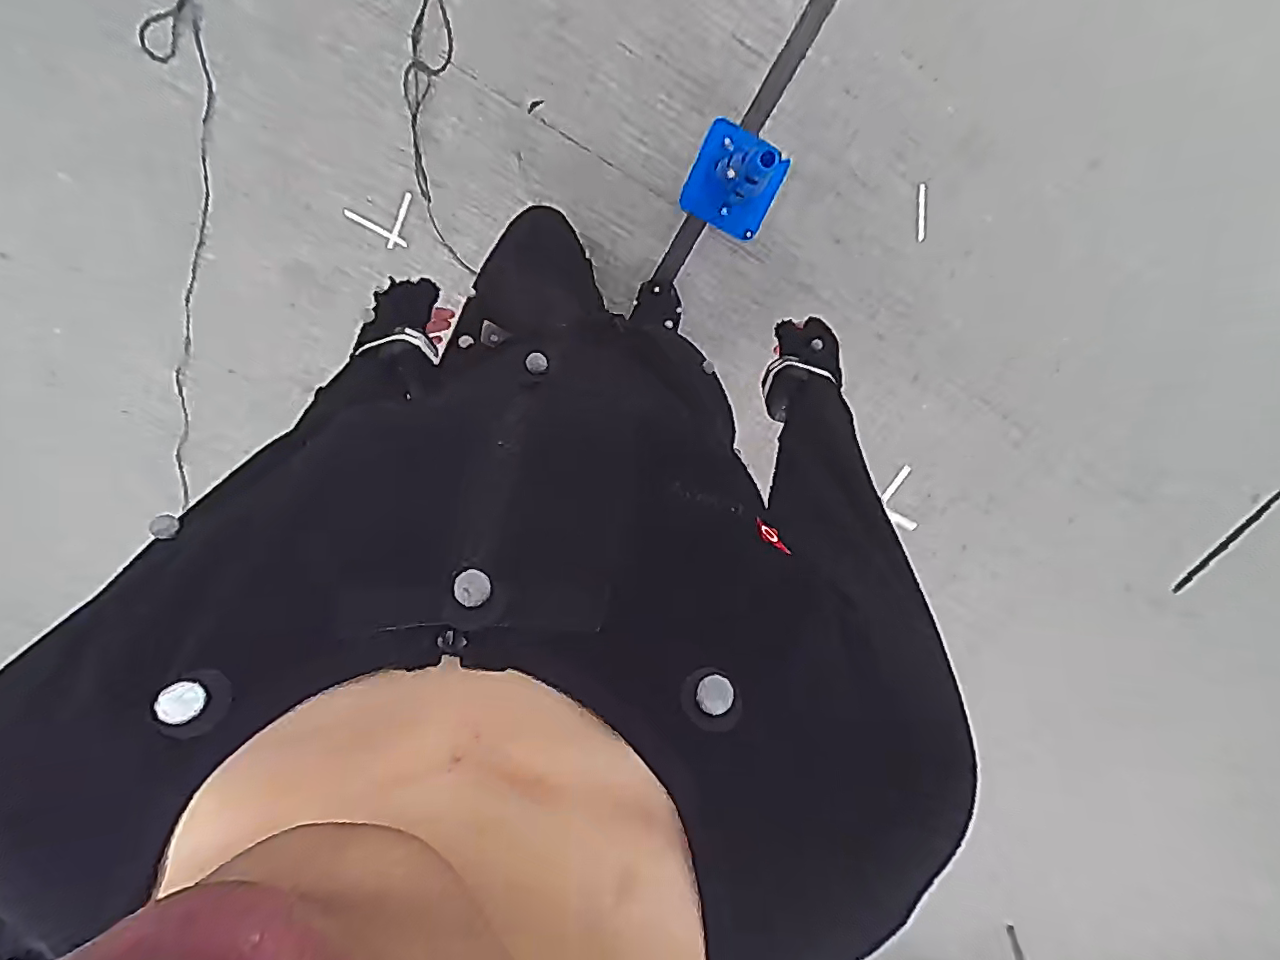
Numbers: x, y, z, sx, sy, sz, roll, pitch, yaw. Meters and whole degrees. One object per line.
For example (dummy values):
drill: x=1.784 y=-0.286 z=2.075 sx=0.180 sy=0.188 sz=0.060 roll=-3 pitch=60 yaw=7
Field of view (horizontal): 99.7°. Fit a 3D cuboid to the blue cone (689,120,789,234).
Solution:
blue cone: x=0.224 y=-0.625 z=1.088 sx=0.192 sy=0.380 sz=0.193 roll=25 pitch=111 yaw=-11
